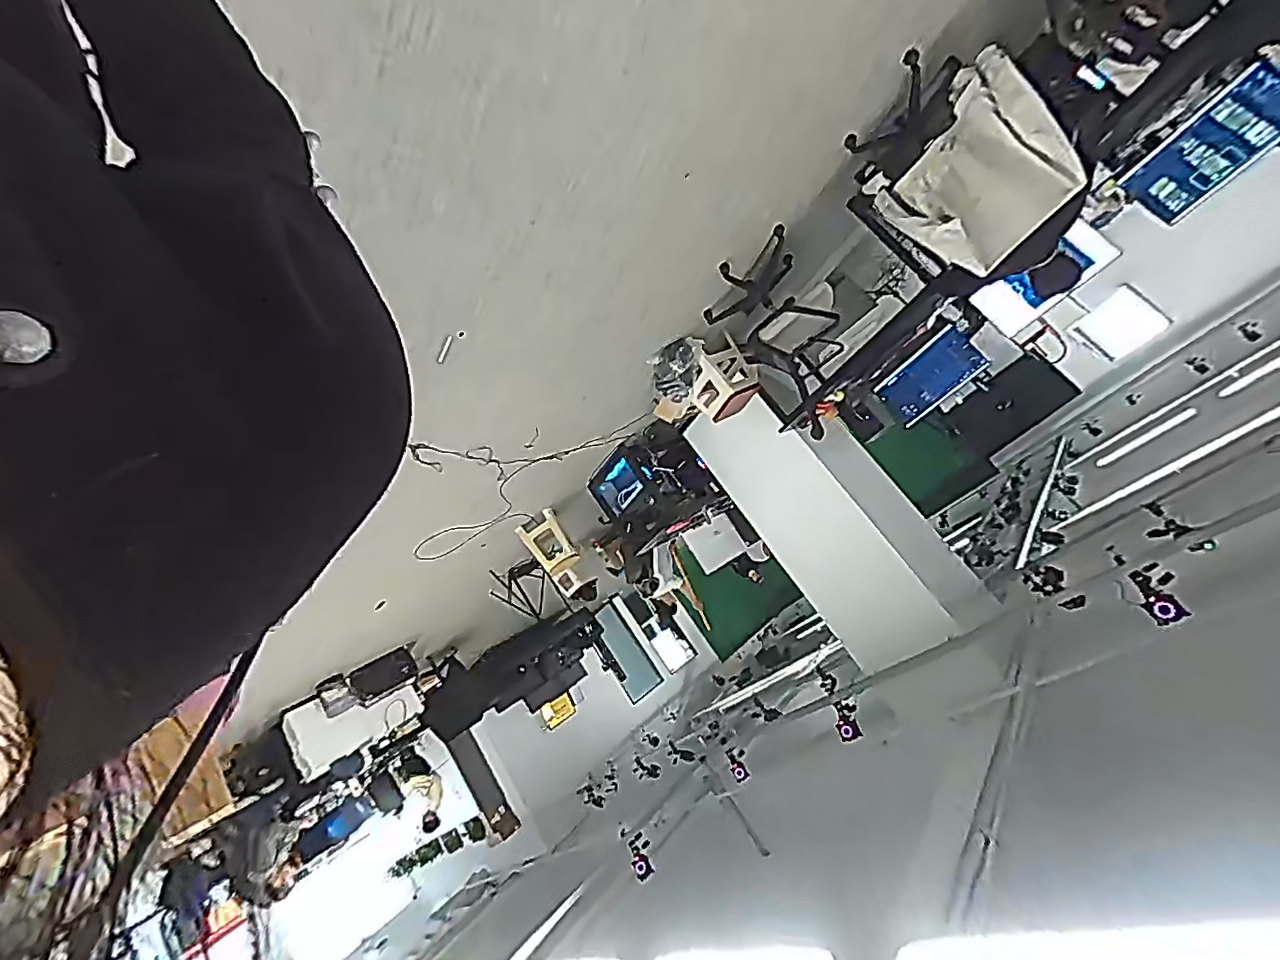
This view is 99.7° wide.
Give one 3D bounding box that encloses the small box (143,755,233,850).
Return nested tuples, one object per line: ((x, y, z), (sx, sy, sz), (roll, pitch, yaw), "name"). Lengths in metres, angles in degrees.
((-1.364, 0.970, 1.633), (0.179, 0.176, 0.168), (-21, 160, -43), "small box")

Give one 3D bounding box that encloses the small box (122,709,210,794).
((-1.456, 0.838, 1.667), (0.168, 0.176, 0.179), (-21, 159, -45), "small box")

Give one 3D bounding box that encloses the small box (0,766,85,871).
((-1.646, 0.906, 1.451), (0.179, 0.176, 0.168), (-19, 157, -46), "small box")
